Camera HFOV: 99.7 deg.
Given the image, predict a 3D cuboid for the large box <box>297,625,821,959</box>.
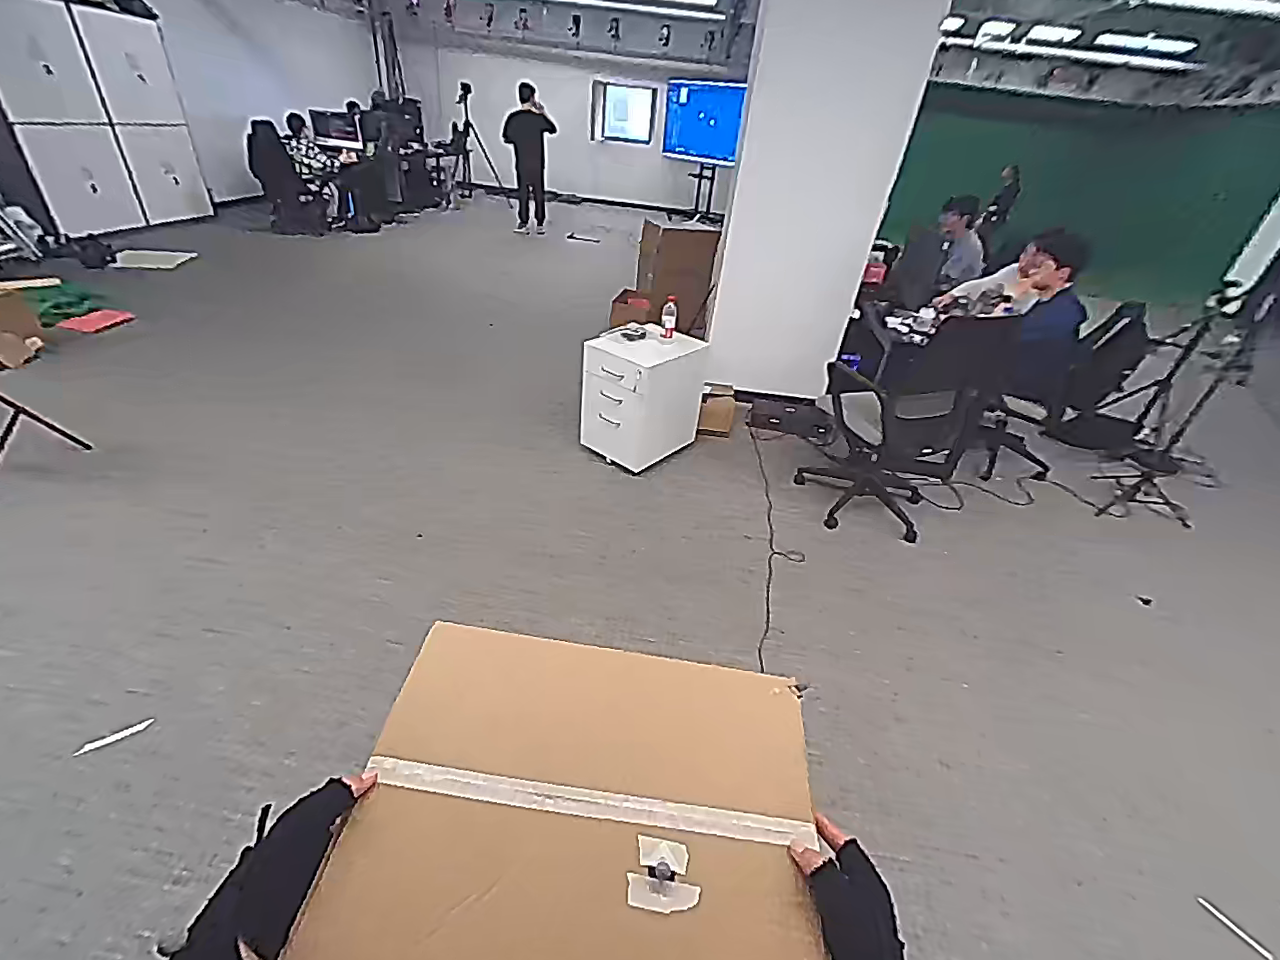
[{"bbox_3d":[-0.062,0.401,0.594,0.408,0.320,0.320,9,42,0],"label":"large box"}]
